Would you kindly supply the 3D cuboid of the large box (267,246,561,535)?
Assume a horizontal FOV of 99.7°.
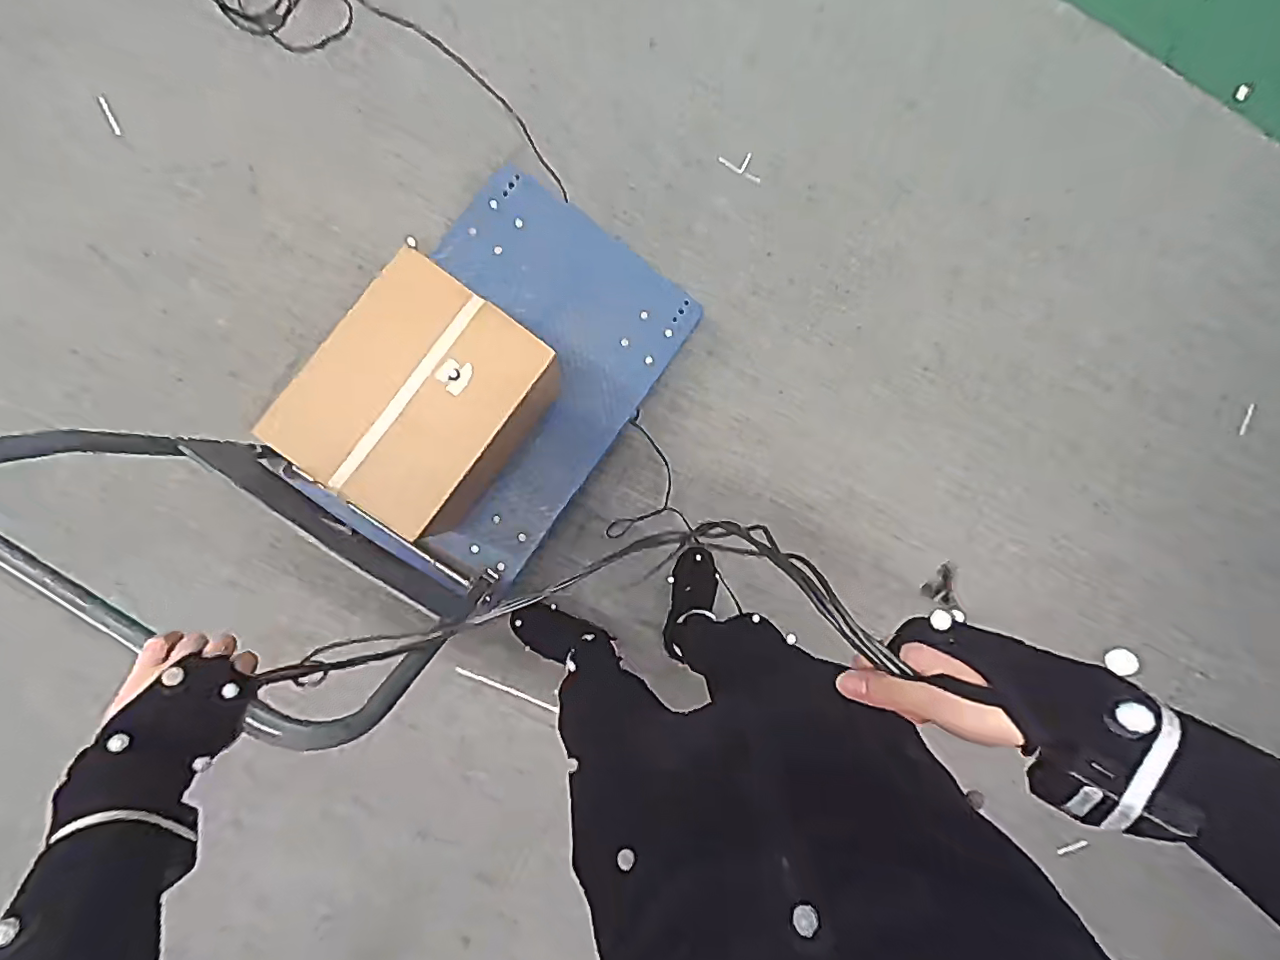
[{"bbox_3d":[-0.394,-0.144,1.055,0.320,0.320,0.408,35,83,-5],"label":"large box"}]
